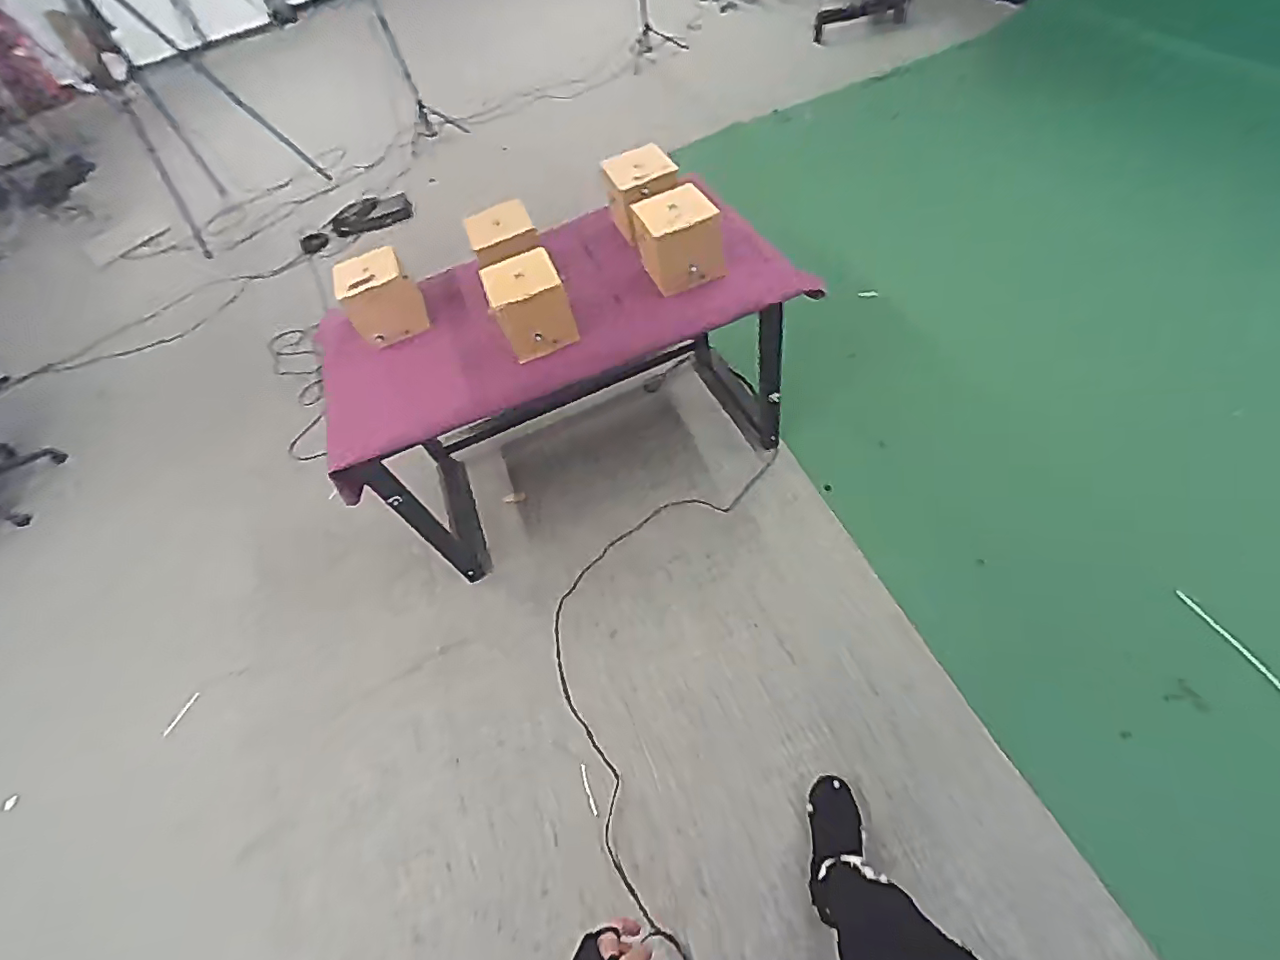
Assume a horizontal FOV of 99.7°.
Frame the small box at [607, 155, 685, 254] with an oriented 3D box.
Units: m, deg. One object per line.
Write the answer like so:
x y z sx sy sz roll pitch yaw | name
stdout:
0.024 -0.771 1.518 0.168 0.176 0.179 -23 54 -3 | small box

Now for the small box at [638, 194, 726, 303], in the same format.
0.107 -0.579 1.361 0.168 0.176 0.179 -22 52 -2 | small box

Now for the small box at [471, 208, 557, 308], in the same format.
-0.343 -0.608 1.488 0.168 0.176 0.179 -22 54 -3 | small box

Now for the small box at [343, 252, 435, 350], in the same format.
-0.676 -0.477 1.466 0.168 0.176 0.179 -22 53 -4 | small box
